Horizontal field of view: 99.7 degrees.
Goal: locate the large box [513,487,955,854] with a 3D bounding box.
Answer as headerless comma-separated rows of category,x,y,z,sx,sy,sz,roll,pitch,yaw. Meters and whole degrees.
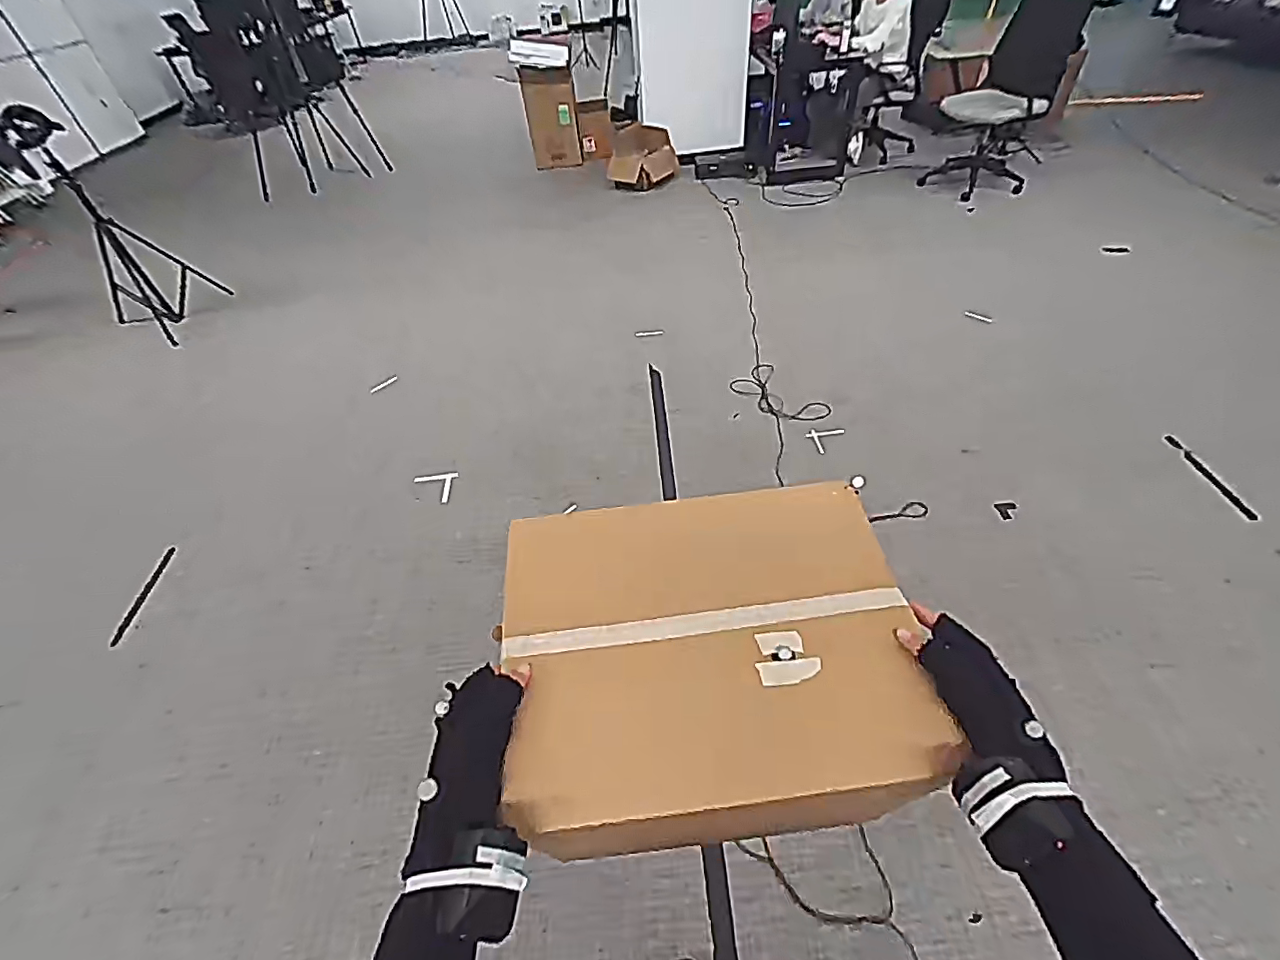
large box,0.073,0.244,0.677,0.408,0.320,0.320,-7,52,-2
